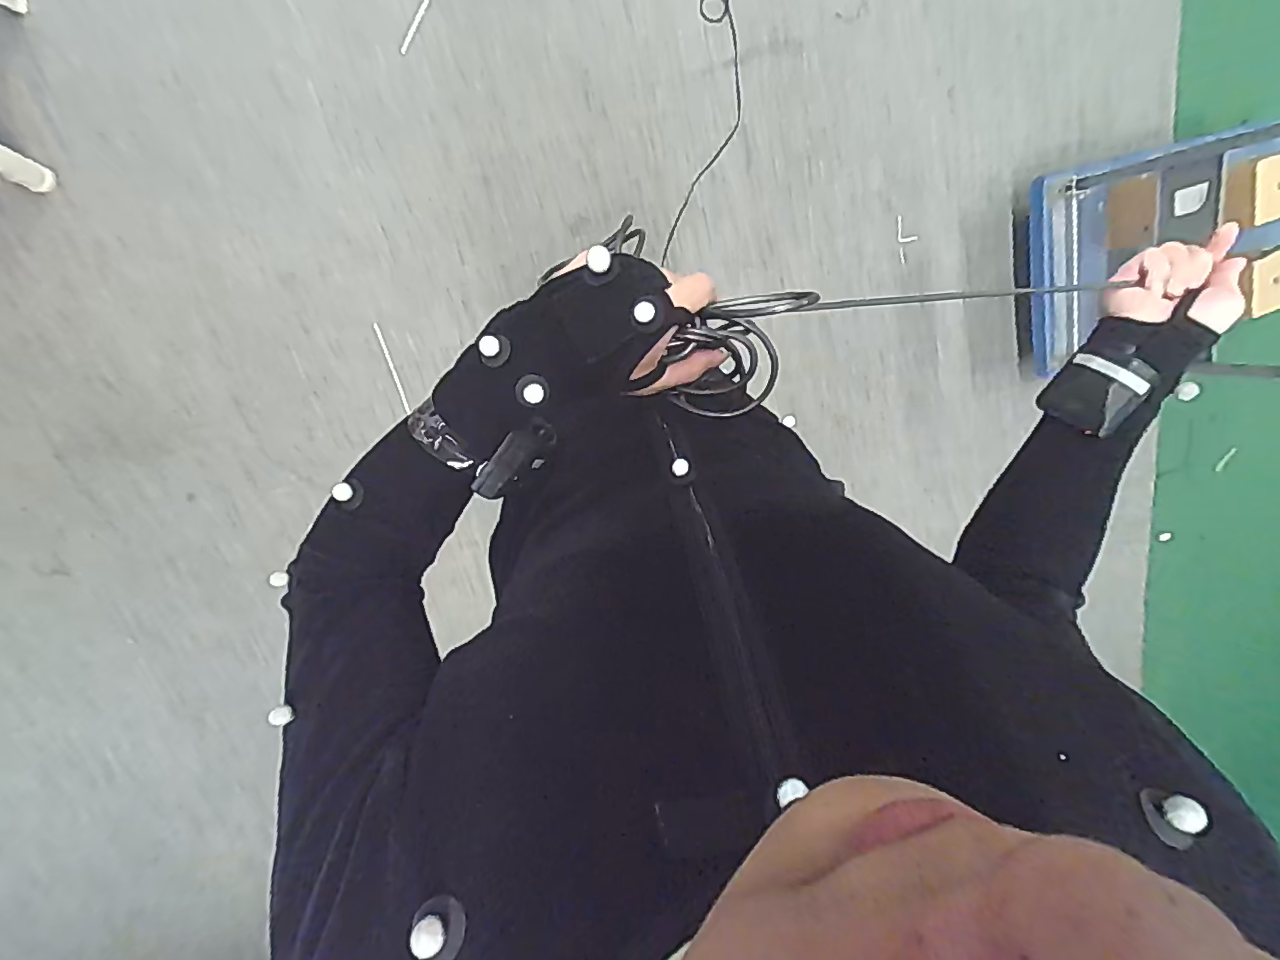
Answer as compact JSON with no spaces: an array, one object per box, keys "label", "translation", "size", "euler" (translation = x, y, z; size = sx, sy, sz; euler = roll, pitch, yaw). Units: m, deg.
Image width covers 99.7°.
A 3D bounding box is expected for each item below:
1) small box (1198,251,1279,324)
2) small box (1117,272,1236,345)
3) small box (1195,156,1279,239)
[{"label":"small box","translation":[1.782,-0.561,1.574],"size":[0.179,0.176,0.168],"euler":[-19,106,-5]},{"label":"small box","translation":[1.524,-0.487,1.544],"size":[0.179,0.176,0.168],"euler":[-15,106,-6]},{"label":"small box","translation":[1.705,-0.790,1.504],"size":[0.179,0.176,0.168],"euler":[-20,107,-6]}]
